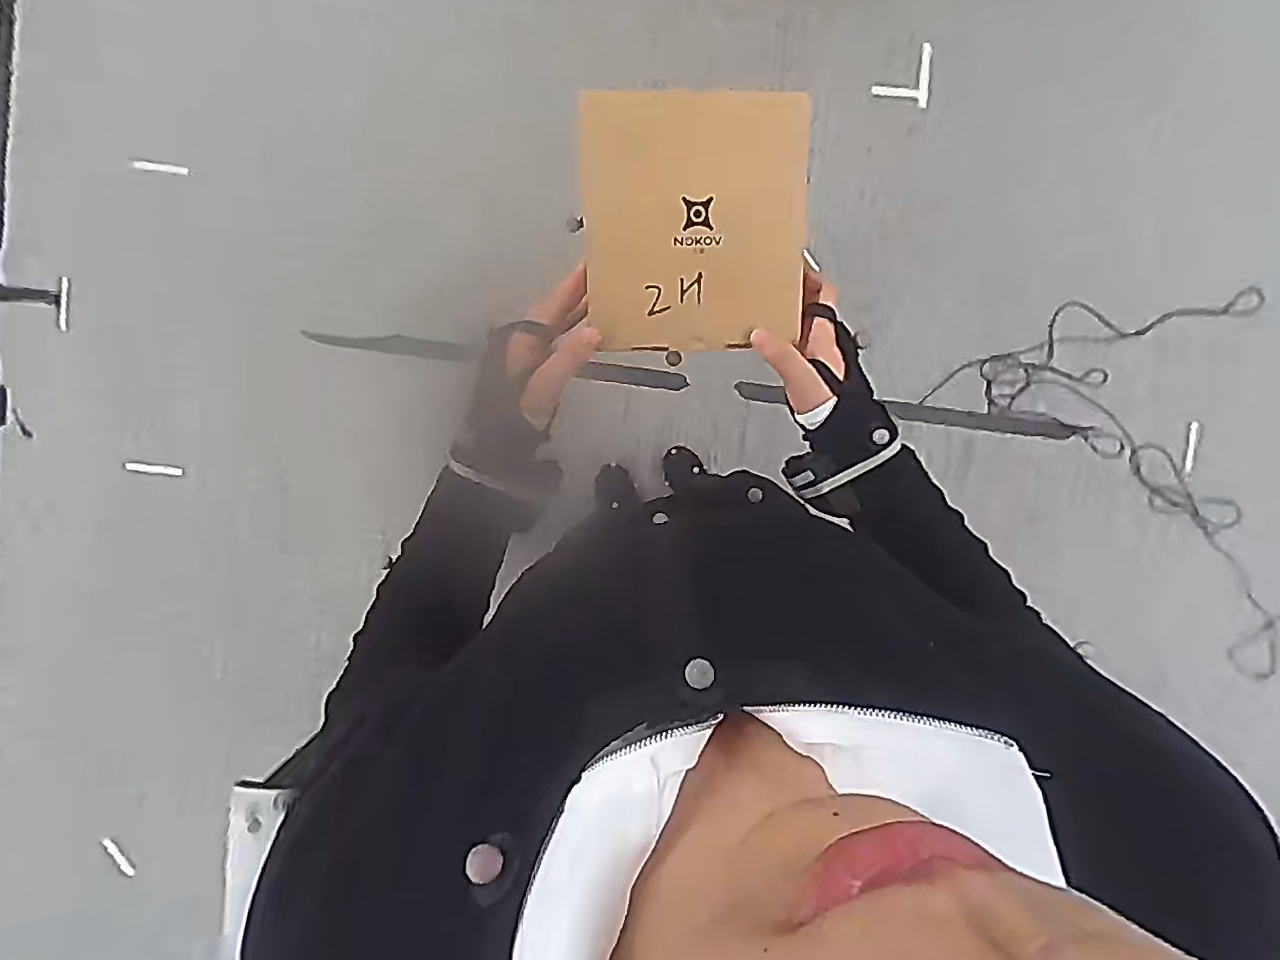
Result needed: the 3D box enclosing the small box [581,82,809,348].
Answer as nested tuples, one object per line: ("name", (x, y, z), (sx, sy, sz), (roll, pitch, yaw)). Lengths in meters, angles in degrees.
("small box", (0.033, -0.209, 0.474), (0.168, 0.176, 0.179), (-2, 103, -5))
